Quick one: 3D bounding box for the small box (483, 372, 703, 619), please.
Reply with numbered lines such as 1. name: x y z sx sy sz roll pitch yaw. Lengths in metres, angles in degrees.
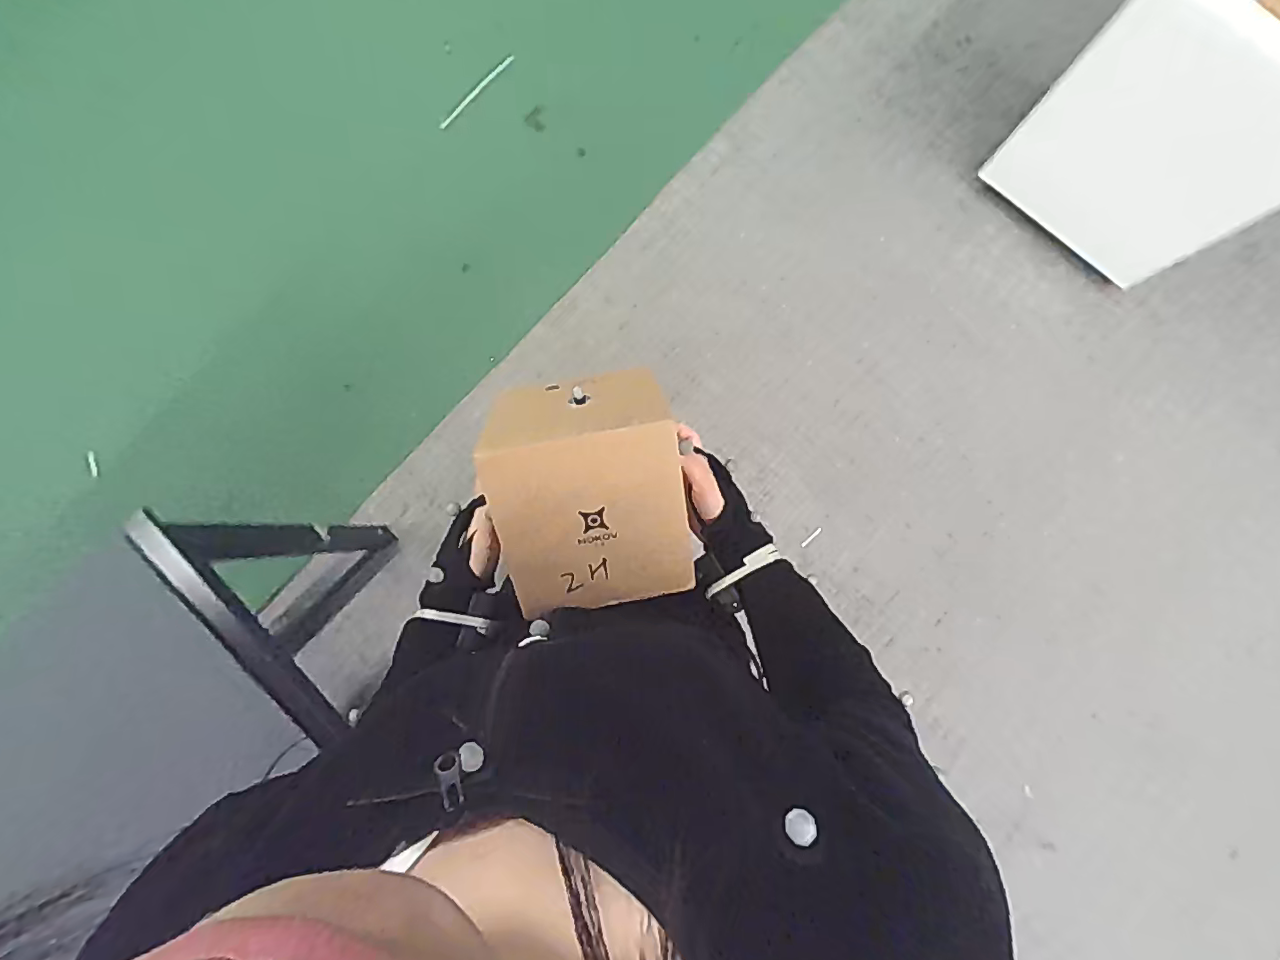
1. small box: -0.042 0.002 0.524 0.168 0.176 0.179 -9 117 -2
